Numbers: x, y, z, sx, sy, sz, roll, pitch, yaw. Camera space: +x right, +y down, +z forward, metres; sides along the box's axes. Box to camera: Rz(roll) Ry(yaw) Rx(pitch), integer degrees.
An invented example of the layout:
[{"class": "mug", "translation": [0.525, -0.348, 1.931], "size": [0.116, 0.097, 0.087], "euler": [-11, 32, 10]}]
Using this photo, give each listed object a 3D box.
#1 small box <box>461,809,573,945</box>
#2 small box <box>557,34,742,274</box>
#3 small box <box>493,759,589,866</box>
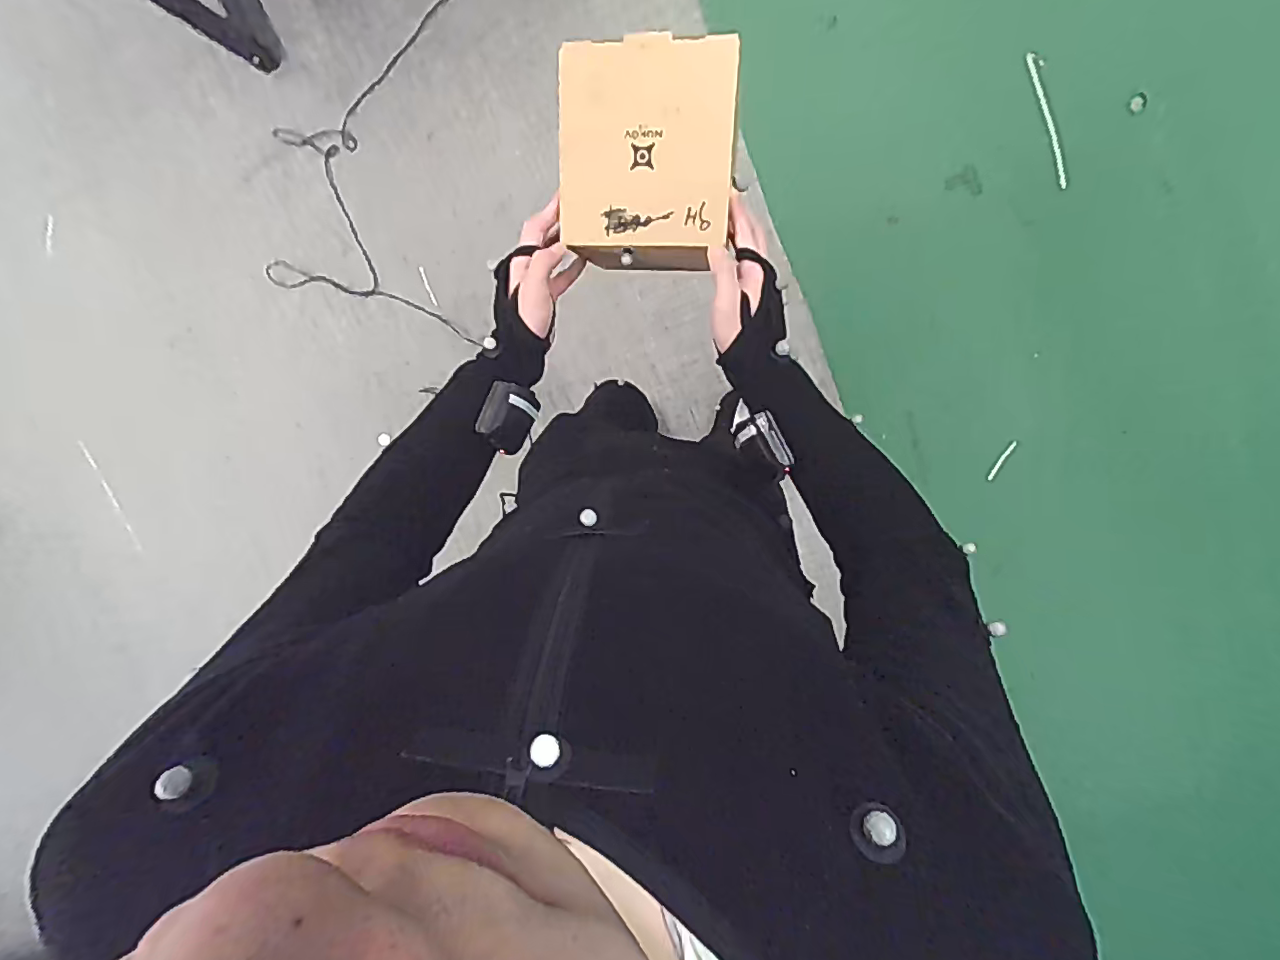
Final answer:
[{"class": "small box", "translation": [-0.255, 0.851, 1.168], "size": [0.168, 0.176, 0.179], "euler": [-10, 100, 11]}, {"class": "small box", "translation": [0.015, -0.325, 0.574], "size": [0.168, 0.176, 0.179], "euler": [4, 104, 9]}, {"class": "small box", "translation": [-0.234, 0.821, 1.327], "size": [0.168, 0.176, 0.179], "euler": [-9, 99, 11]}]
